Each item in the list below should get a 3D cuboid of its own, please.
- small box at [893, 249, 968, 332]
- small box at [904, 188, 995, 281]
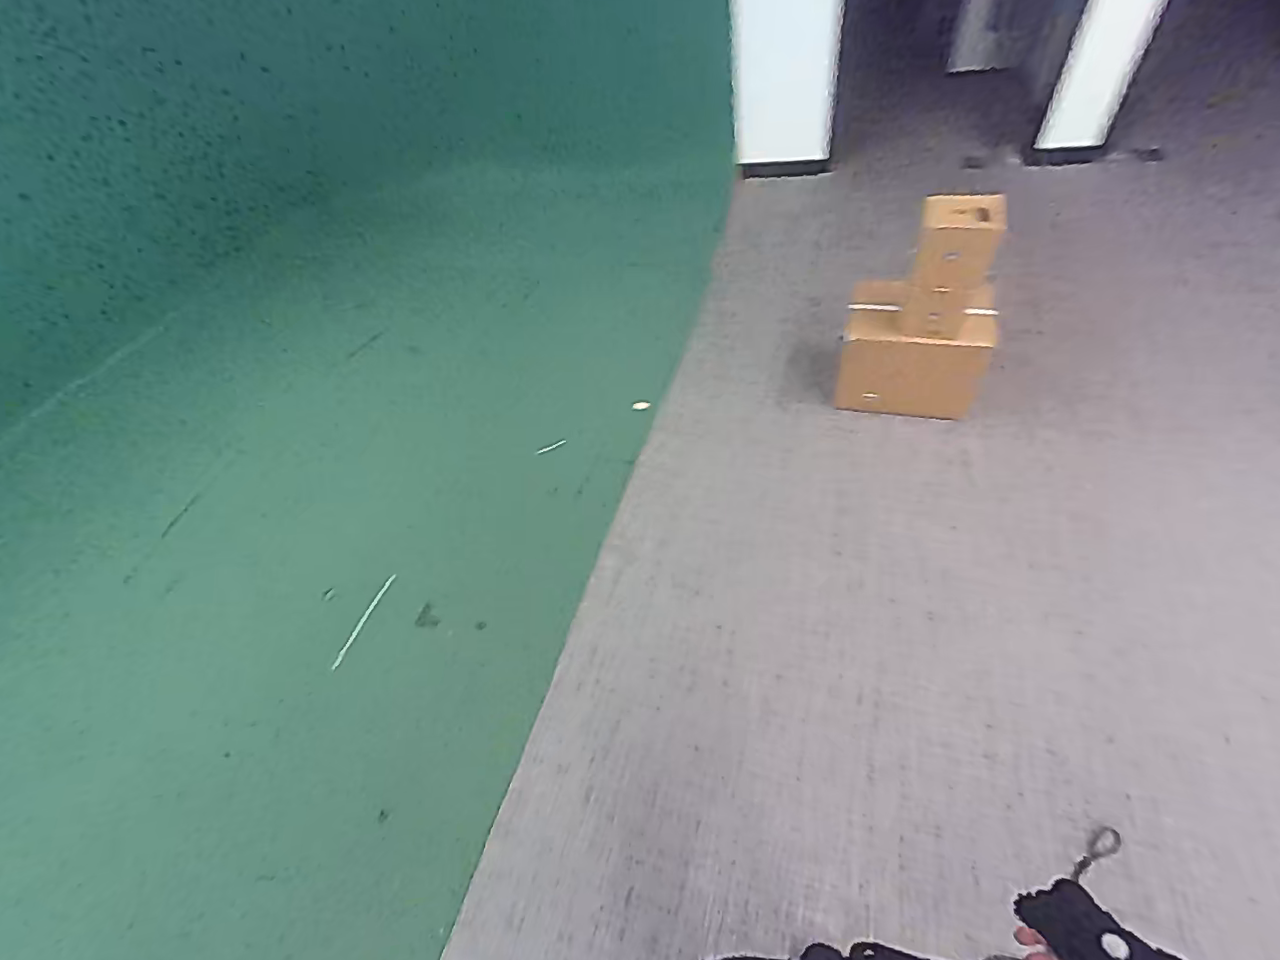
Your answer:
[{"bbox_3d":[0.841,-0.551,1.565,0.168,0.176,0.179,11,57,21],"label":"small box"},{"bbox_3d":[0.816,-0.646,1.433,0.179,0.176,0.168,10,56,21],"label":"small box"}]
